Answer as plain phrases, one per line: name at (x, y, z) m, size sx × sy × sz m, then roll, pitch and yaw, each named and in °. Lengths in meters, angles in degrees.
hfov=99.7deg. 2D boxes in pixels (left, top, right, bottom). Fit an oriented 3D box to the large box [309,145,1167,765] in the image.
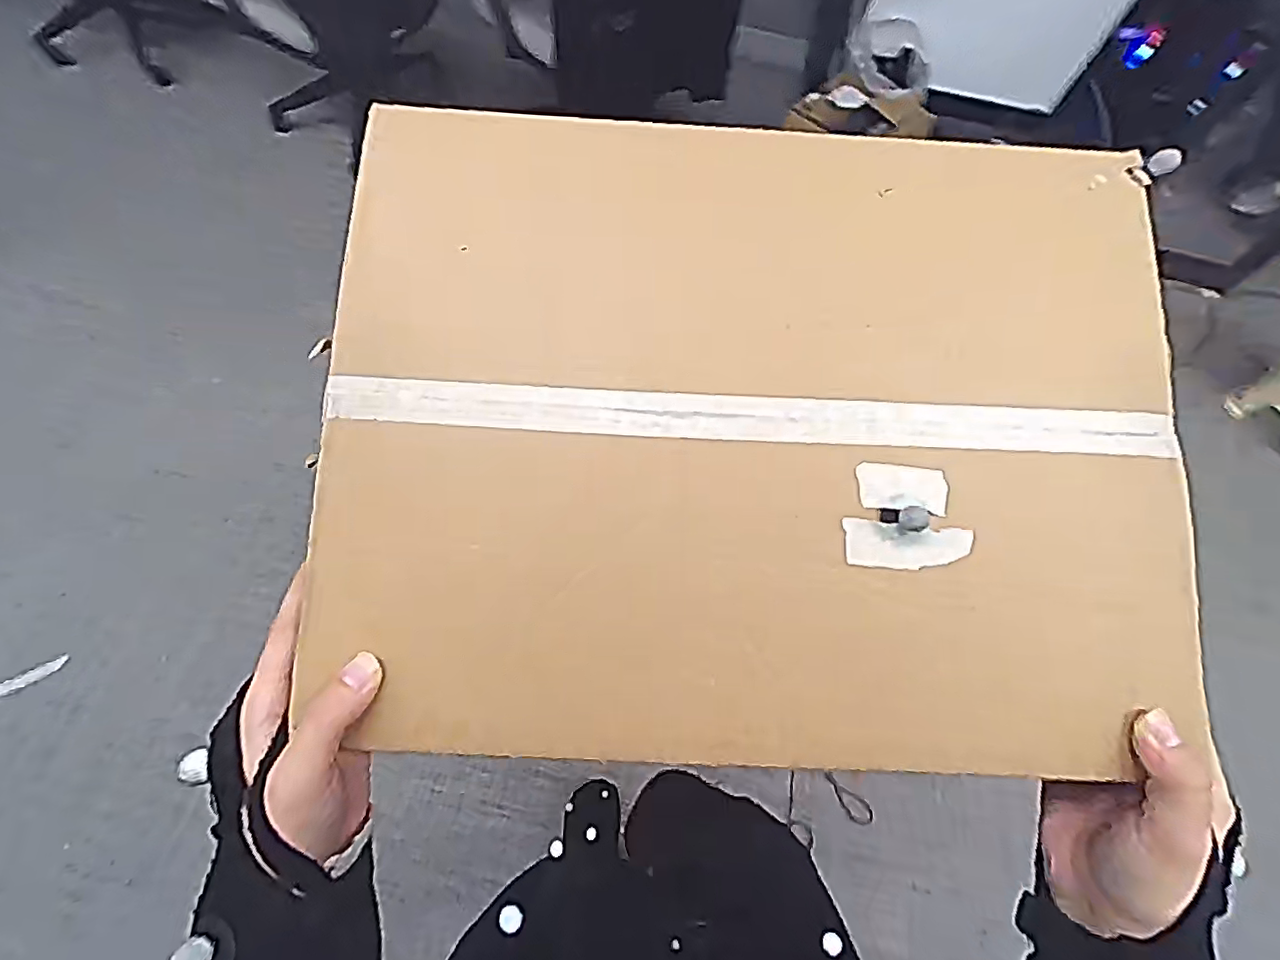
large box at (0.045, 0.001, 0.415) m, size 0.408 × 0.320 × 0.320 m, roll 2°, pitch 82°, yaw -2°
